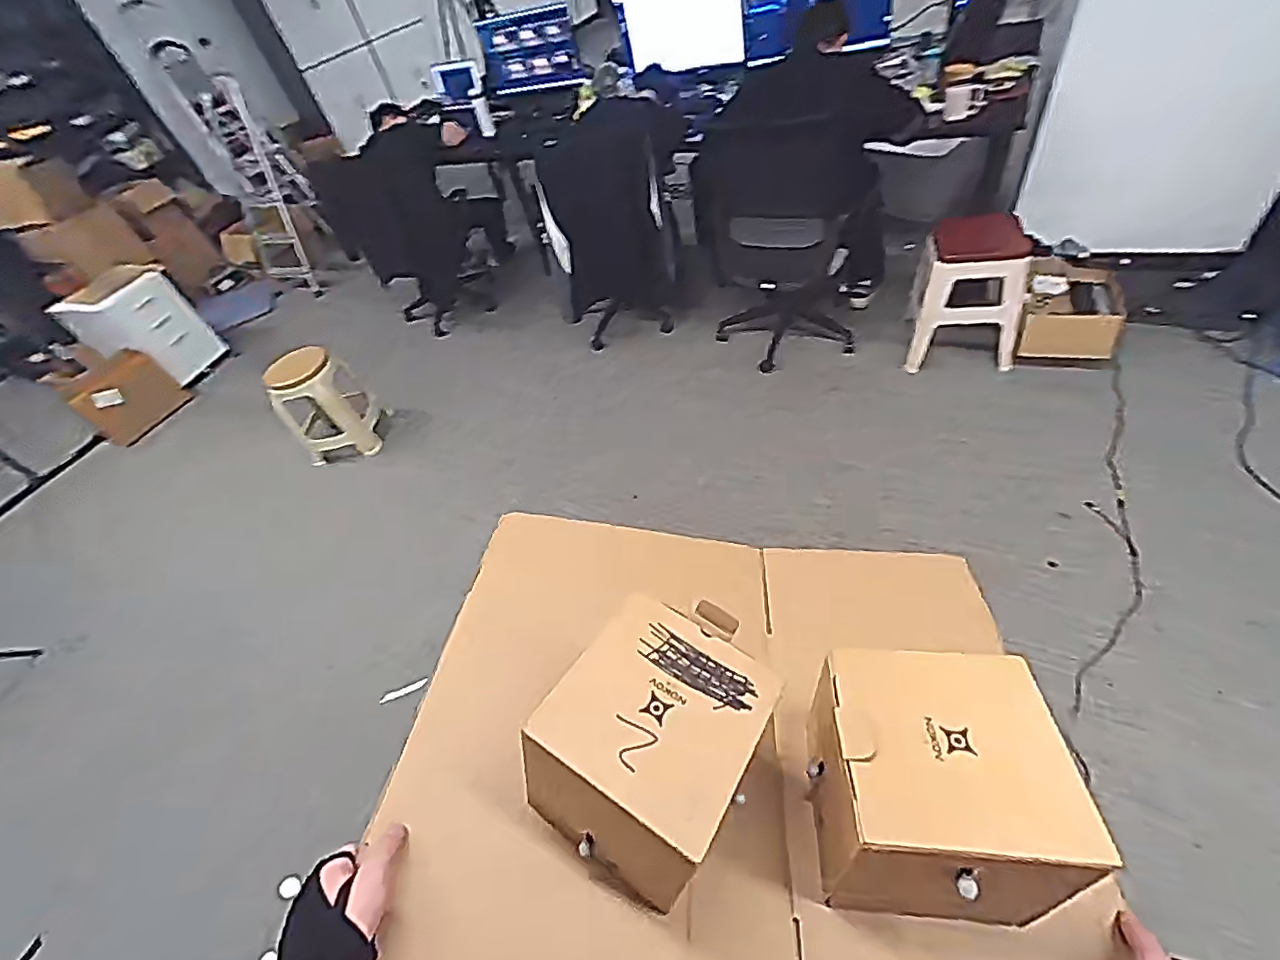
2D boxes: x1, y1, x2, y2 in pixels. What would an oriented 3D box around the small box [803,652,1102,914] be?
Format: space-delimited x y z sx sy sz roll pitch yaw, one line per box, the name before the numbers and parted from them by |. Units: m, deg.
small box | 0.262 0.284 0.510 0.179 0.176 0.168 0 40 7
